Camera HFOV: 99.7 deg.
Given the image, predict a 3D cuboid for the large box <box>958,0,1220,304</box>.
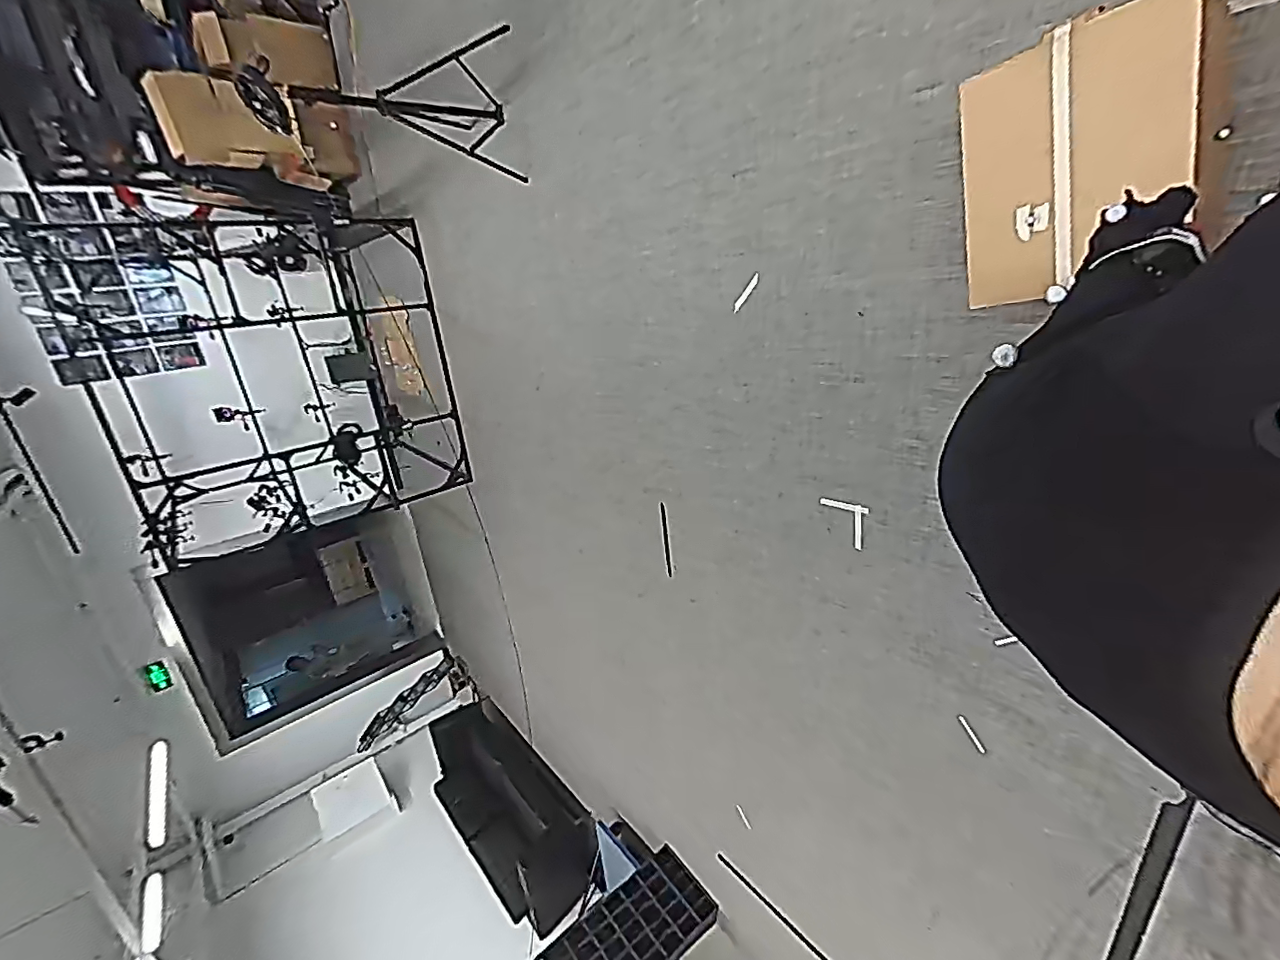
[{"bbox_3d":[0.833,-0.578,1.005,0.320,0.320,0.408,7,114,53],"label":"large box"}]
